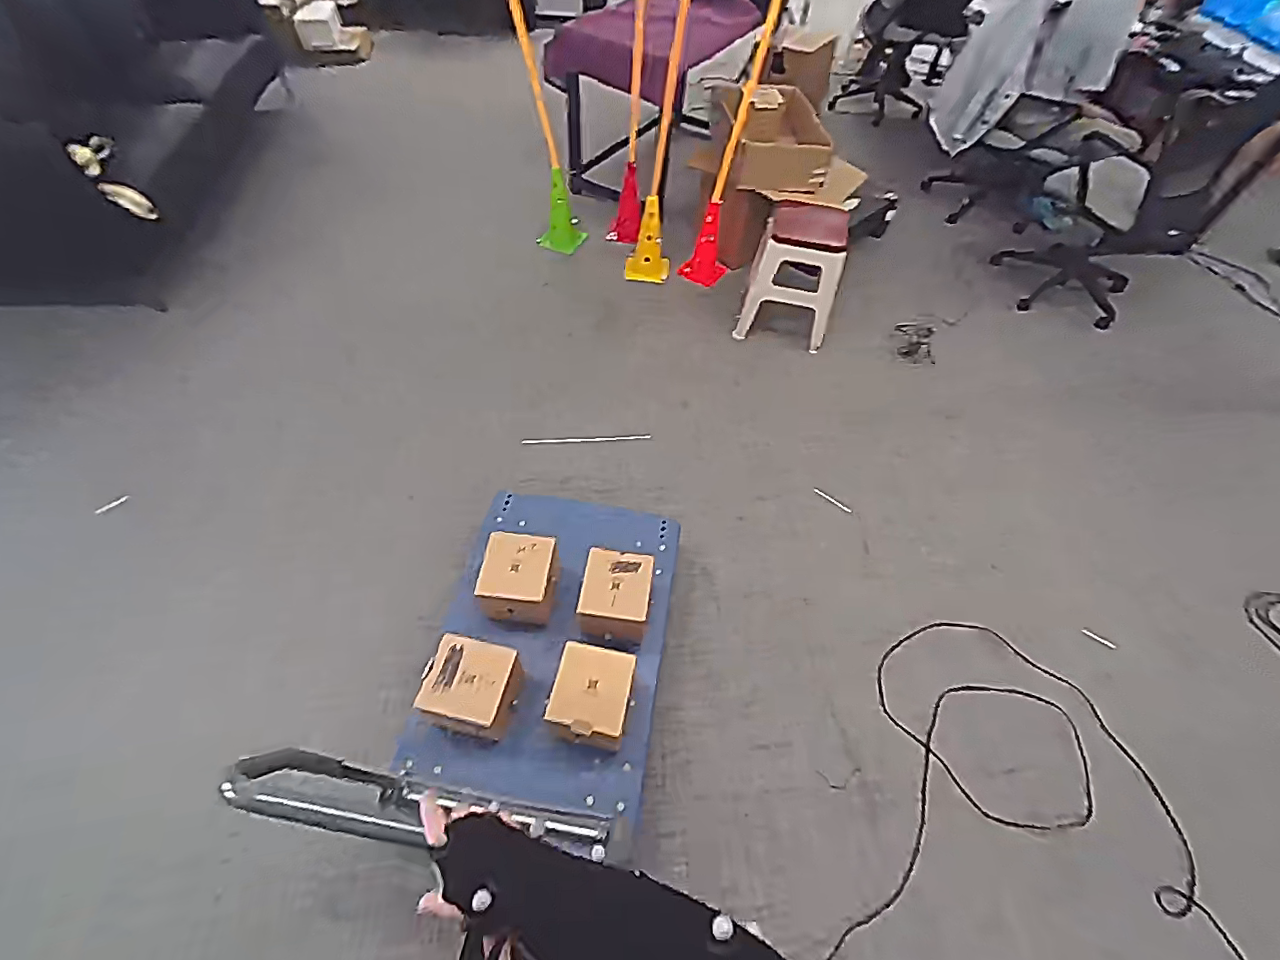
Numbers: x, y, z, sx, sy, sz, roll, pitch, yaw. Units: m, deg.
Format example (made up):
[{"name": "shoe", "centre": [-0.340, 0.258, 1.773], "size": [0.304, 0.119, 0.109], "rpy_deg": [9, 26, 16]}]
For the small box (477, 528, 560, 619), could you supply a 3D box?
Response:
[{"name": "small box", "centre": [-0.306, 0.247, 1.402], "size": [0.168, 0.176, 0.179], "rpy_deg": [7, 55, 0]}]

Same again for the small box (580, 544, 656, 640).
[{"name": "small box", "centre": [-0.055, 0.290, 1.389], "size": [0.168, 0.176, 0.179], "rpy_deg": [8, 56, 3]}]

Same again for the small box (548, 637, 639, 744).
[{"name": "small box", "centre": [-0.105, 0.490, 1.250], "size": [0.168, 0.176, 0.179], "rpy_deg": [11, 56, 4]}]
